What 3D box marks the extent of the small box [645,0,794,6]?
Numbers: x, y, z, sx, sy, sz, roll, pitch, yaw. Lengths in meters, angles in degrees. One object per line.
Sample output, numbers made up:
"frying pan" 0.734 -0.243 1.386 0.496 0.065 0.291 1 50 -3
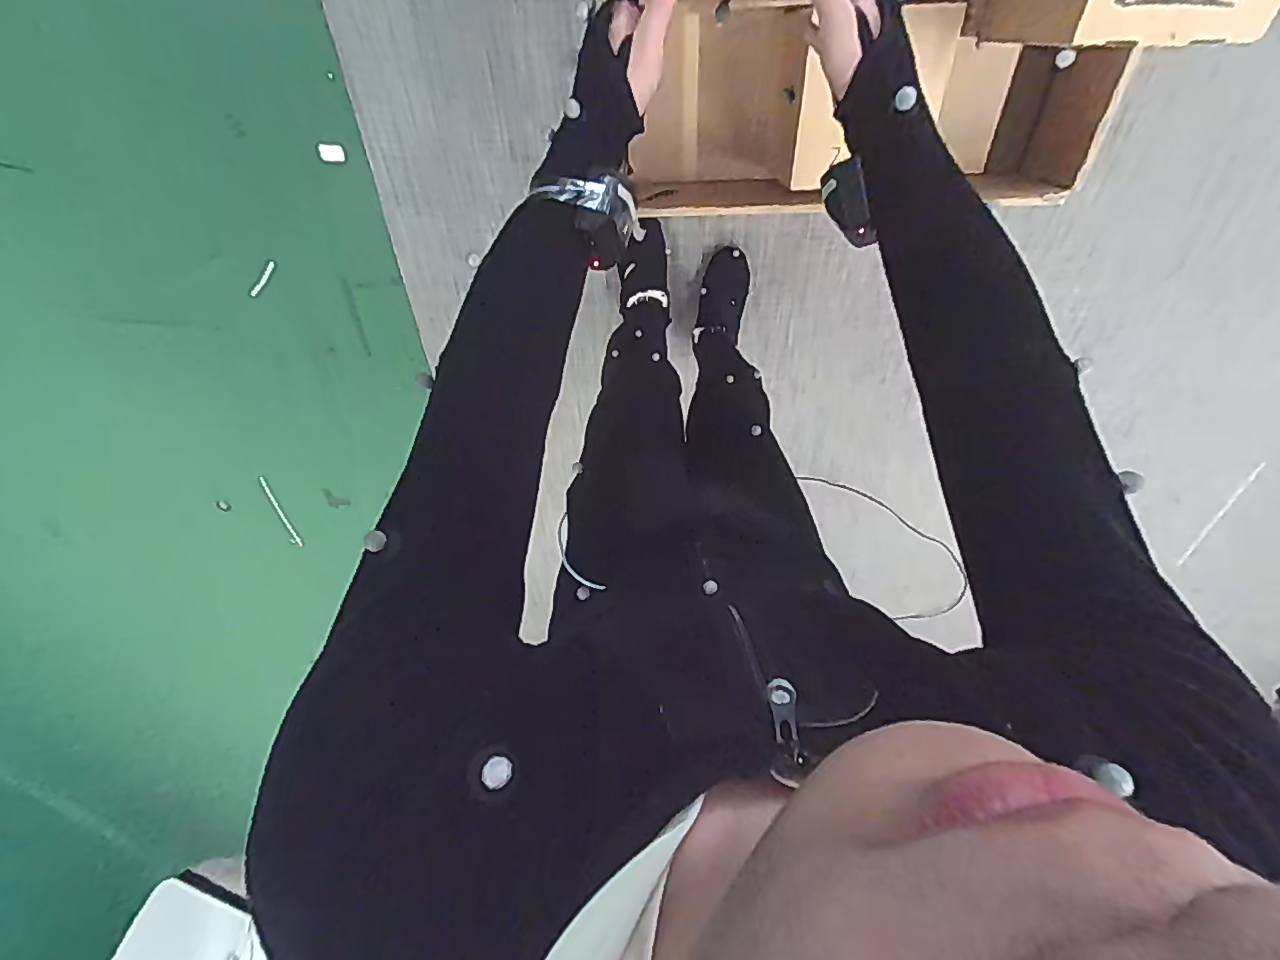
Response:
"small box" 0.084 -0.507 0.444 0.179 0.176 0.168 0 128 1
